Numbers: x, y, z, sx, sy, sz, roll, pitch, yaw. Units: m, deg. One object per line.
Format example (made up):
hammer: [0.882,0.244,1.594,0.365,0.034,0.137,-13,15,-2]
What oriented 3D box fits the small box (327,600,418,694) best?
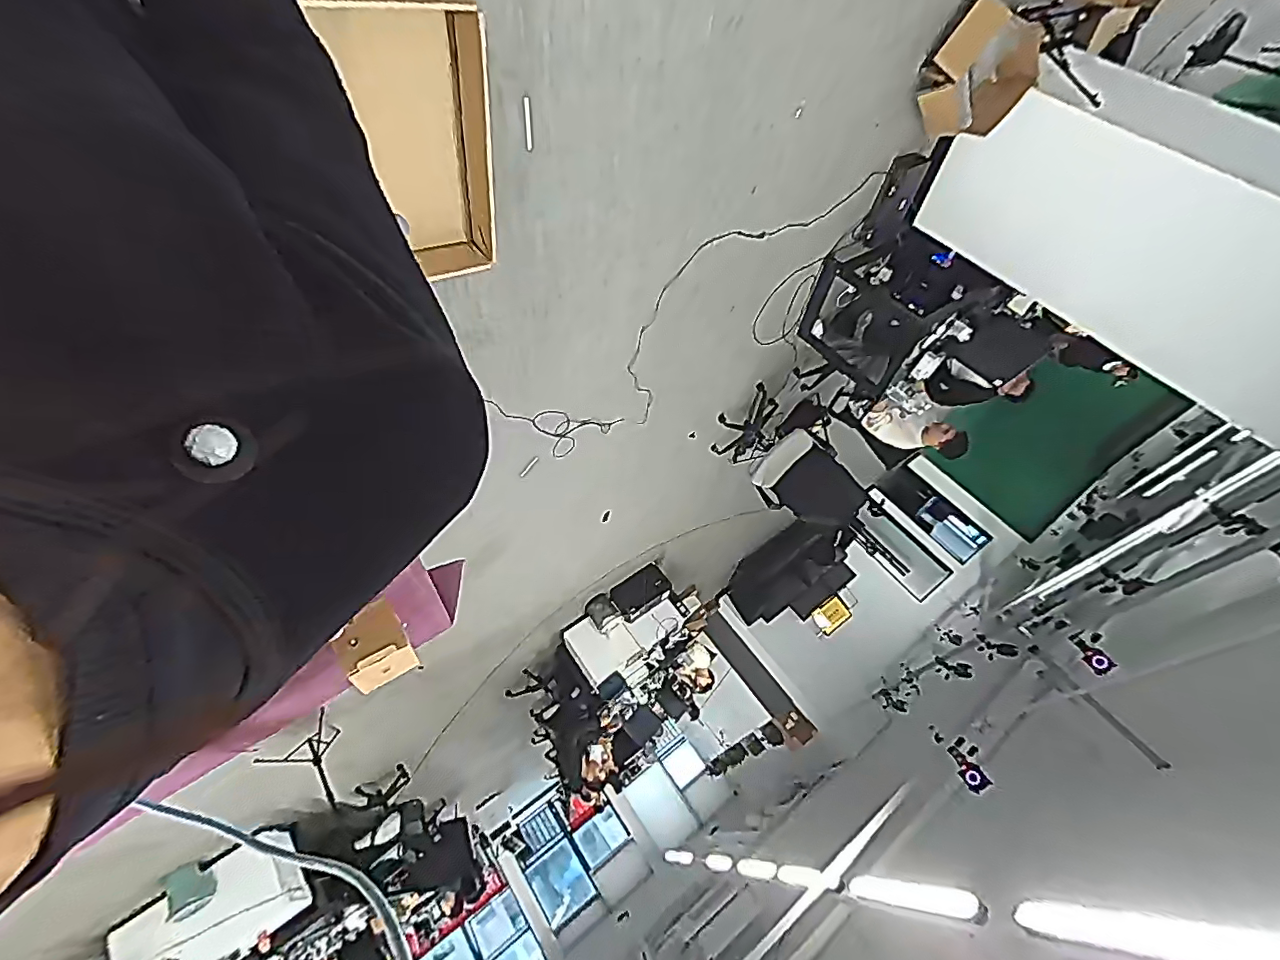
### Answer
small box: [-0.756,0.466,1.530,0.168,0.176,0.179,-27,153,-26]
